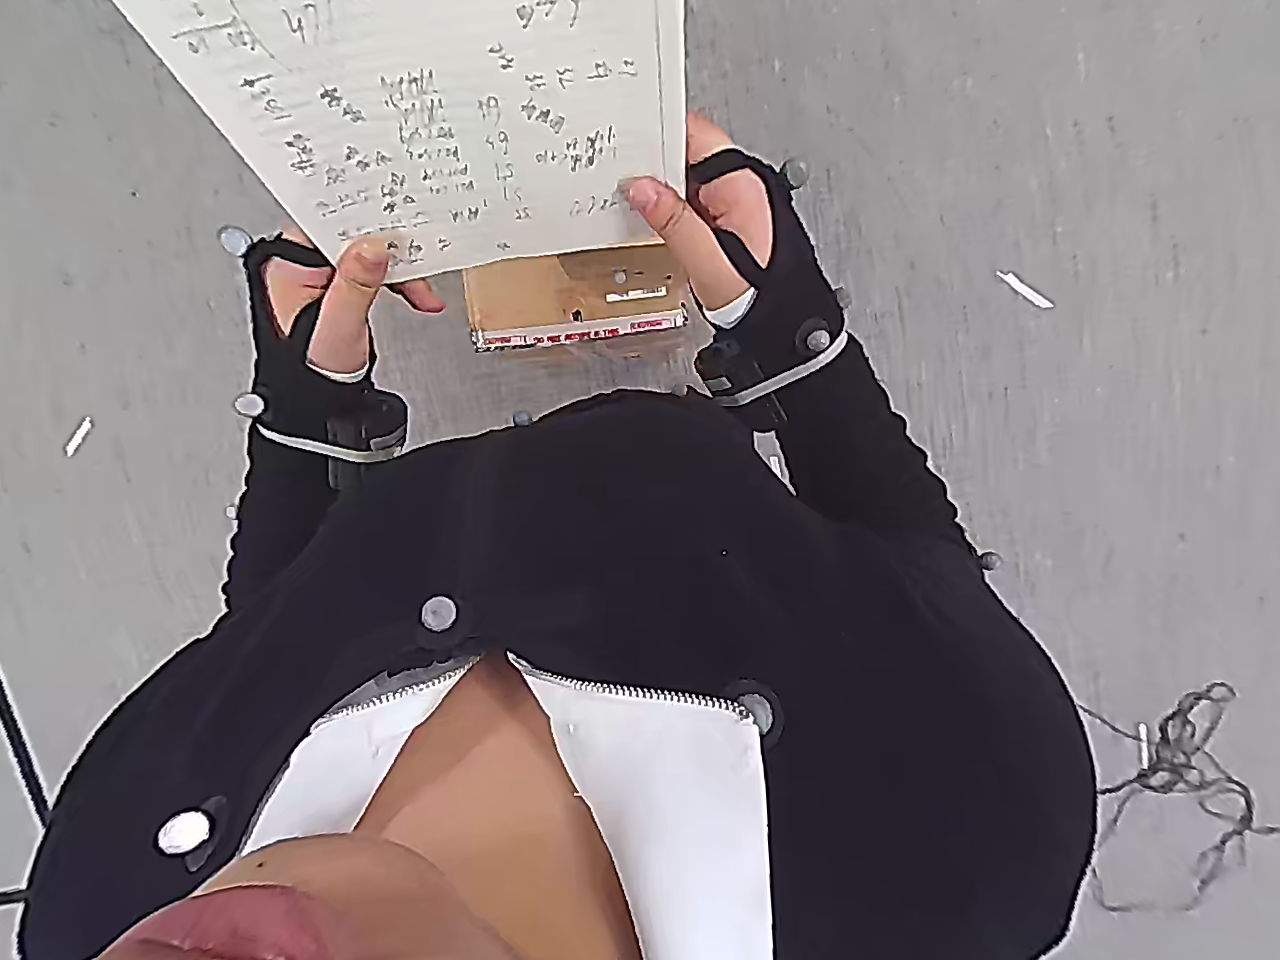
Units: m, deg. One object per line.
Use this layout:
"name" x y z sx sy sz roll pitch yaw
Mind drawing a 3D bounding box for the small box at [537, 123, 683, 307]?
"small box" -0.035 -0.335 0.715 0.168 0.176 0.179 -4 100 0

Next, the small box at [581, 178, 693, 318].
"small box" -0.018 -0.366 0.877 0.179 0.176 0.168 -8 99 1
